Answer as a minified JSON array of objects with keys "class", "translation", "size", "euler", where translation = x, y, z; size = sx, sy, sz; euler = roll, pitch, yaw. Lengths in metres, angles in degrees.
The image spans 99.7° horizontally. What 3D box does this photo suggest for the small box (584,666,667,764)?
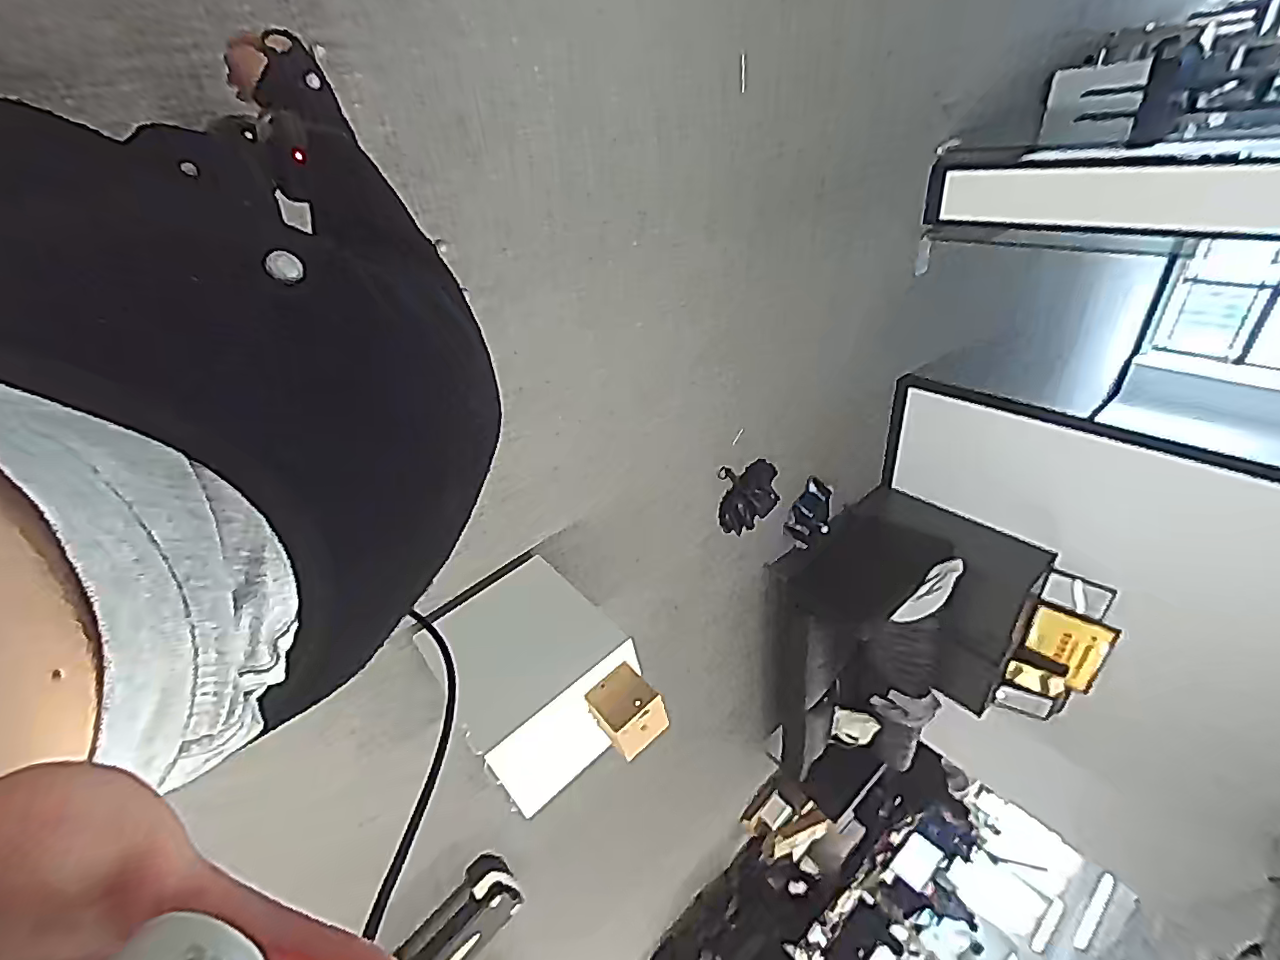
[{"class":"small box","translation":[-0.043,0.698,1.622],"size":[0.168,0.176,0.179],"euler":[-34,133,-25]}]
